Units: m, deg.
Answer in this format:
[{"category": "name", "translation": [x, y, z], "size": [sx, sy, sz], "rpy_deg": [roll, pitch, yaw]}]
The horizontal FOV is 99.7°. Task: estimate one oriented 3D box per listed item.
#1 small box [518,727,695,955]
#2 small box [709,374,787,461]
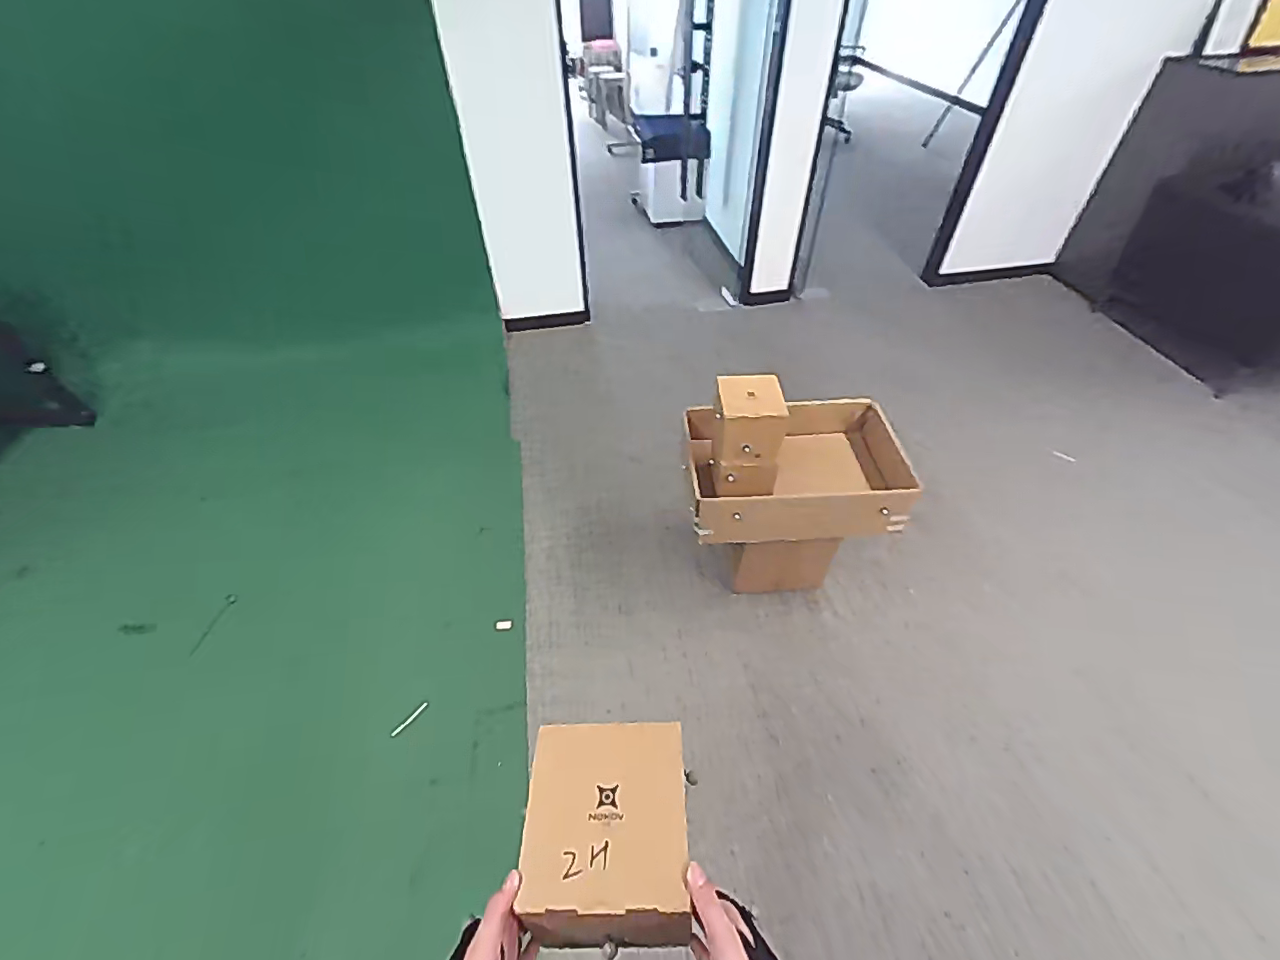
[{"category": "small box", "translation": [-0.027, 0.401, 0.606], "size": [0.168, 0.176, 0.179], "rpy_deg": [-1, 41, 2]}, {"category": "small box", "translation": [0.286, -0.171, 1.475], "size": [0.168, 0.176, 0.179], "rpy_deg": [-1, 48, -1]}]
